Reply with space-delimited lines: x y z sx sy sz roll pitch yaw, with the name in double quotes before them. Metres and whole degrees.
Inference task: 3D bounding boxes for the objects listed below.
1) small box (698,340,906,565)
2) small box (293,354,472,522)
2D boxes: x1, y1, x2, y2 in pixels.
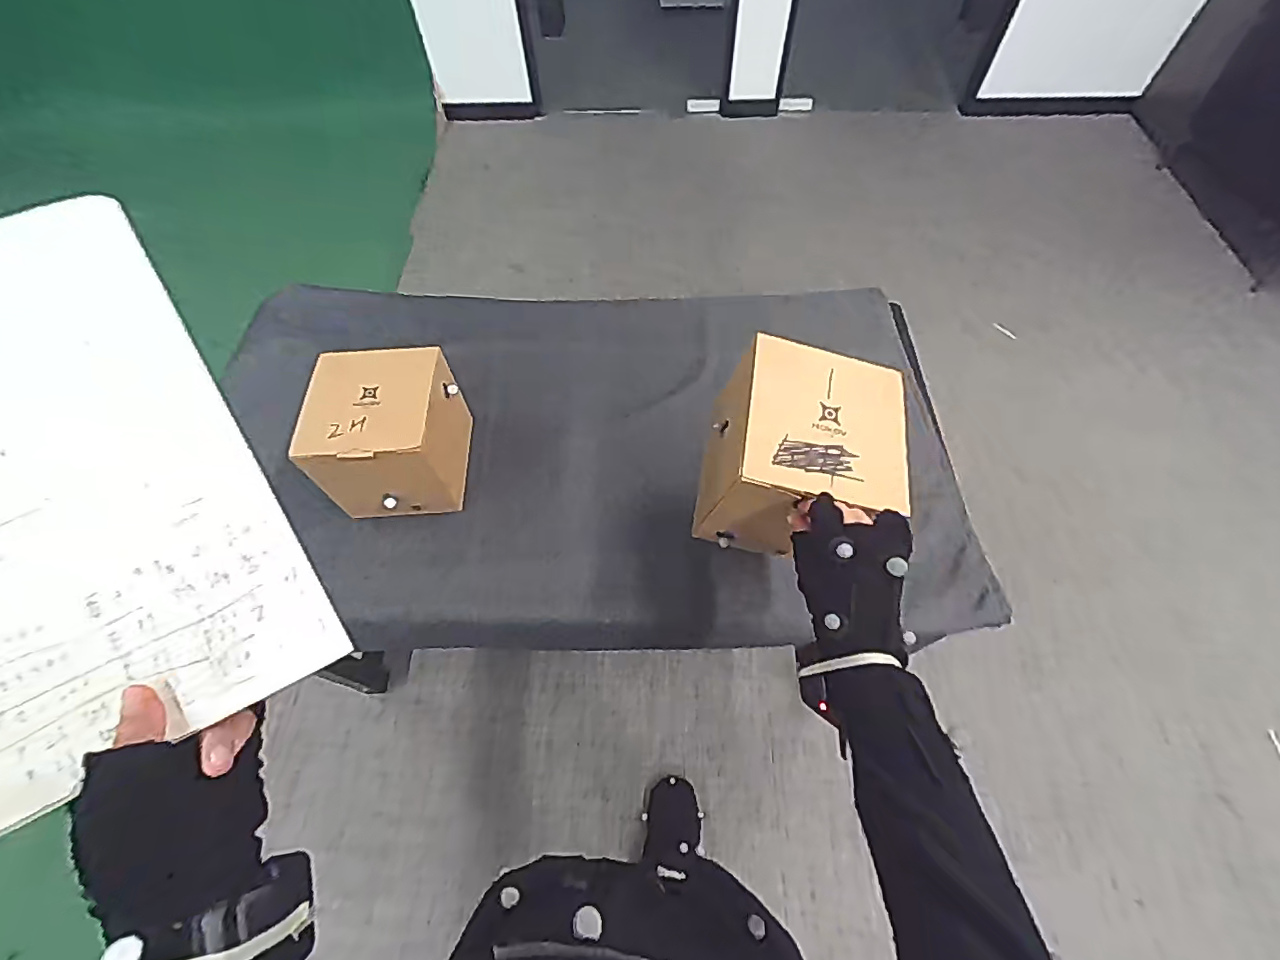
"small box" 0.171 -0.020 0.610 0.168 0.176 0.179 14 61 -5
"small box" -0.348 -0.057 0.774 0.168 0.176 0.179 -3 58 -1
